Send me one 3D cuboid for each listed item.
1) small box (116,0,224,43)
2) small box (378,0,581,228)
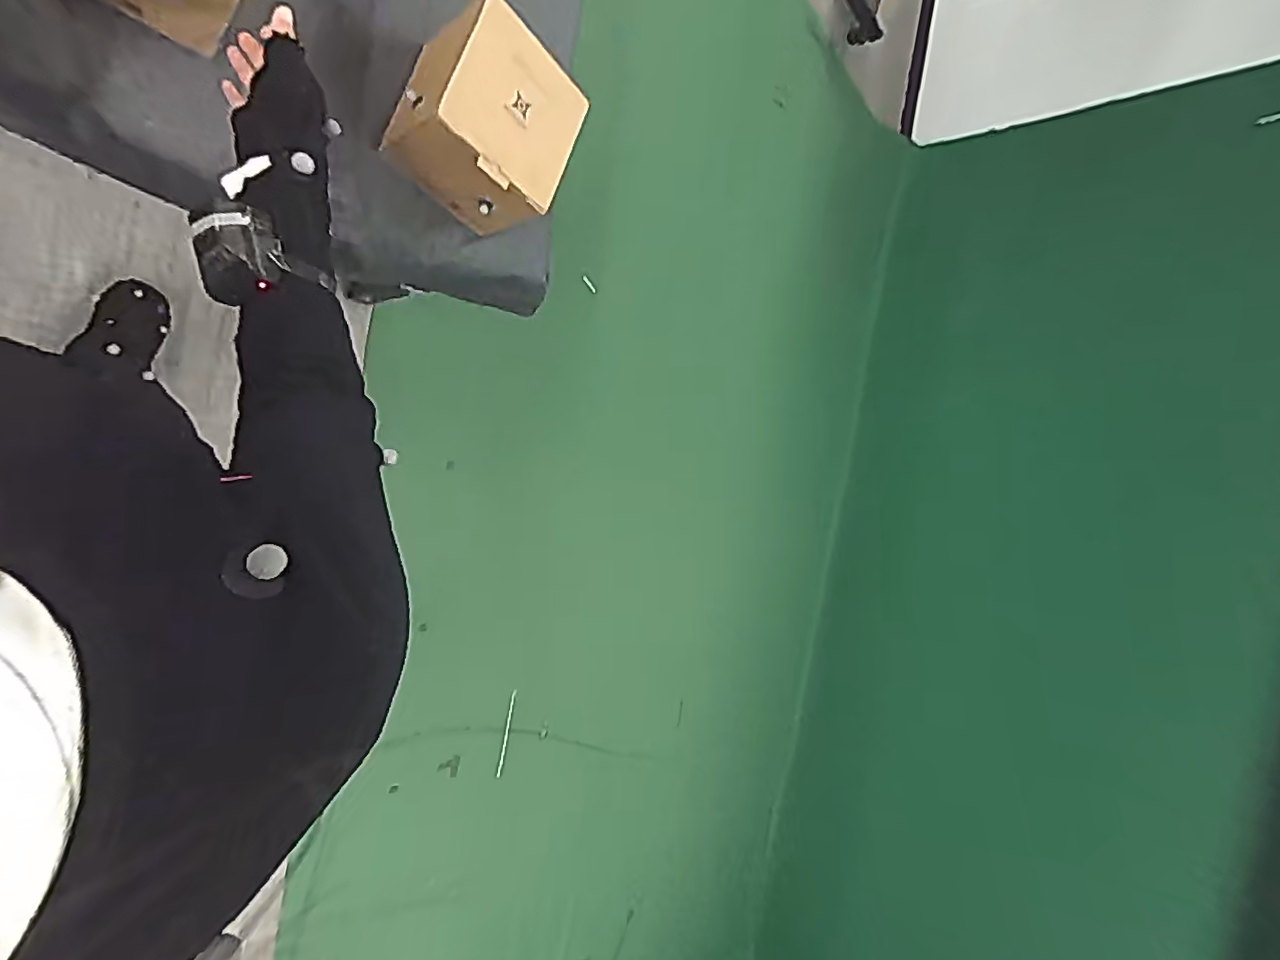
[{"bbox_3d":[-0.434,-0.523,0.446,0.168,0.176,0.179,9,91,-49],"label":"small box"},{"bbox_3d":[-0.212,-0.461,0.706,0.168,0.176,0.179,27,77,-48],"label":"small box"}]
